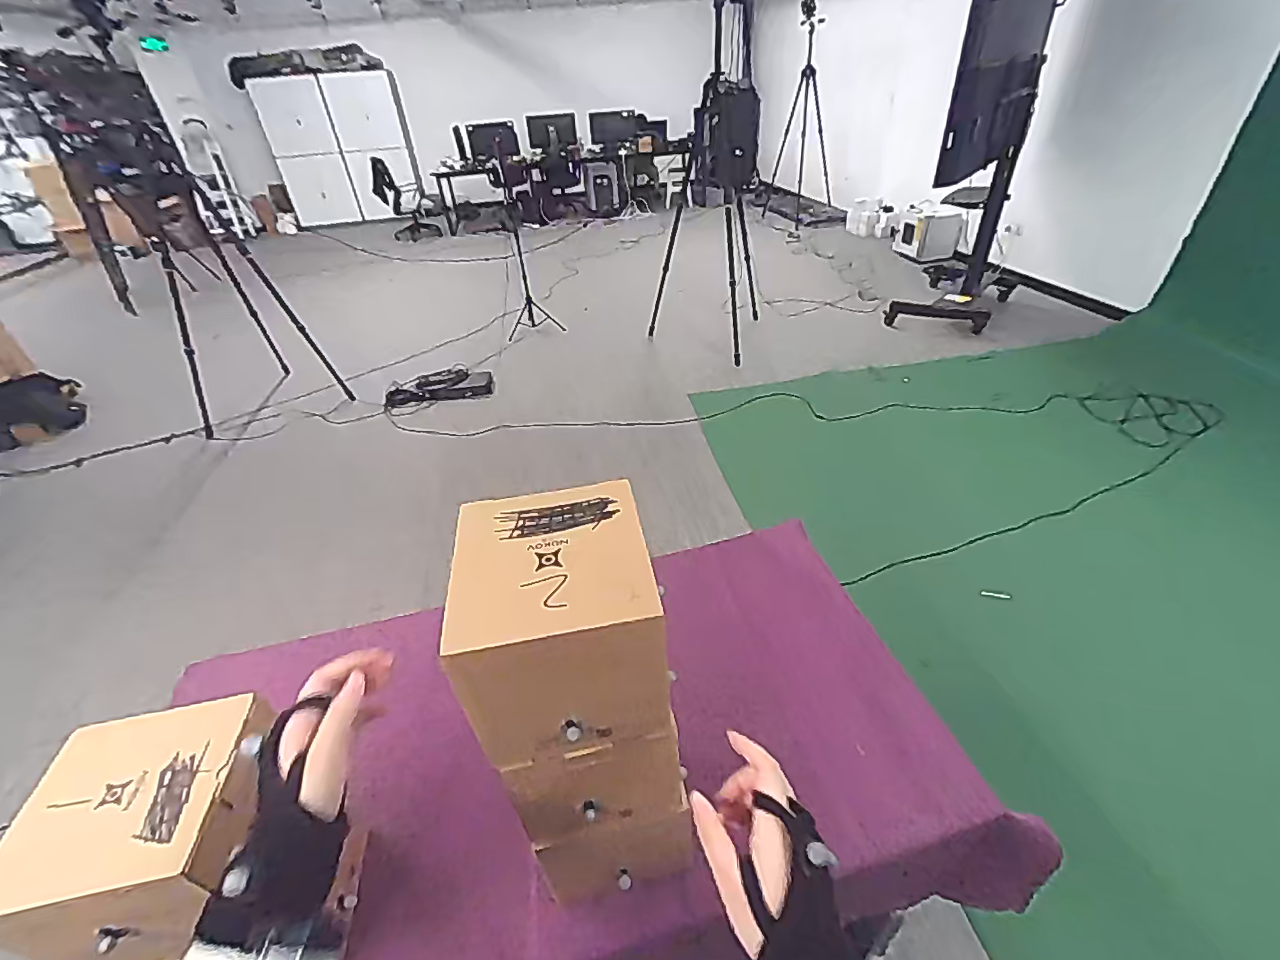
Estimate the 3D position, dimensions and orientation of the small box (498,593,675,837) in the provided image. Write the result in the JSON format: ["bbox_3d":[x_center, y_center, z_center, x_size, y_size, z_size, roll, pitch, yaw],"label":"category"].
[{"bbox_3d":[-0.059,0.260,0.610,0.168,0.176,0.179,-10,38,-7],"label":"small box"}]

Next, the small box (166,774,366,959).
[{"bbox_3d":[-0.452,0.481,0.630,0.179,0.176,0.168,-9,37,-7],"label":"small box"}]

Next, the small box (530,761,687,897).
[{"bbox_3d":[-0.045,0.397,0.698,0.179,0.176,0.168,-10,36,-8],"label":"small box"}]

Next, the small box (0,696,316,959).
[{"bbox_3d":[-0.458,0.347,0.535,0.179,0.176,0.168,-10,38,-7],"label":"small box"}]
